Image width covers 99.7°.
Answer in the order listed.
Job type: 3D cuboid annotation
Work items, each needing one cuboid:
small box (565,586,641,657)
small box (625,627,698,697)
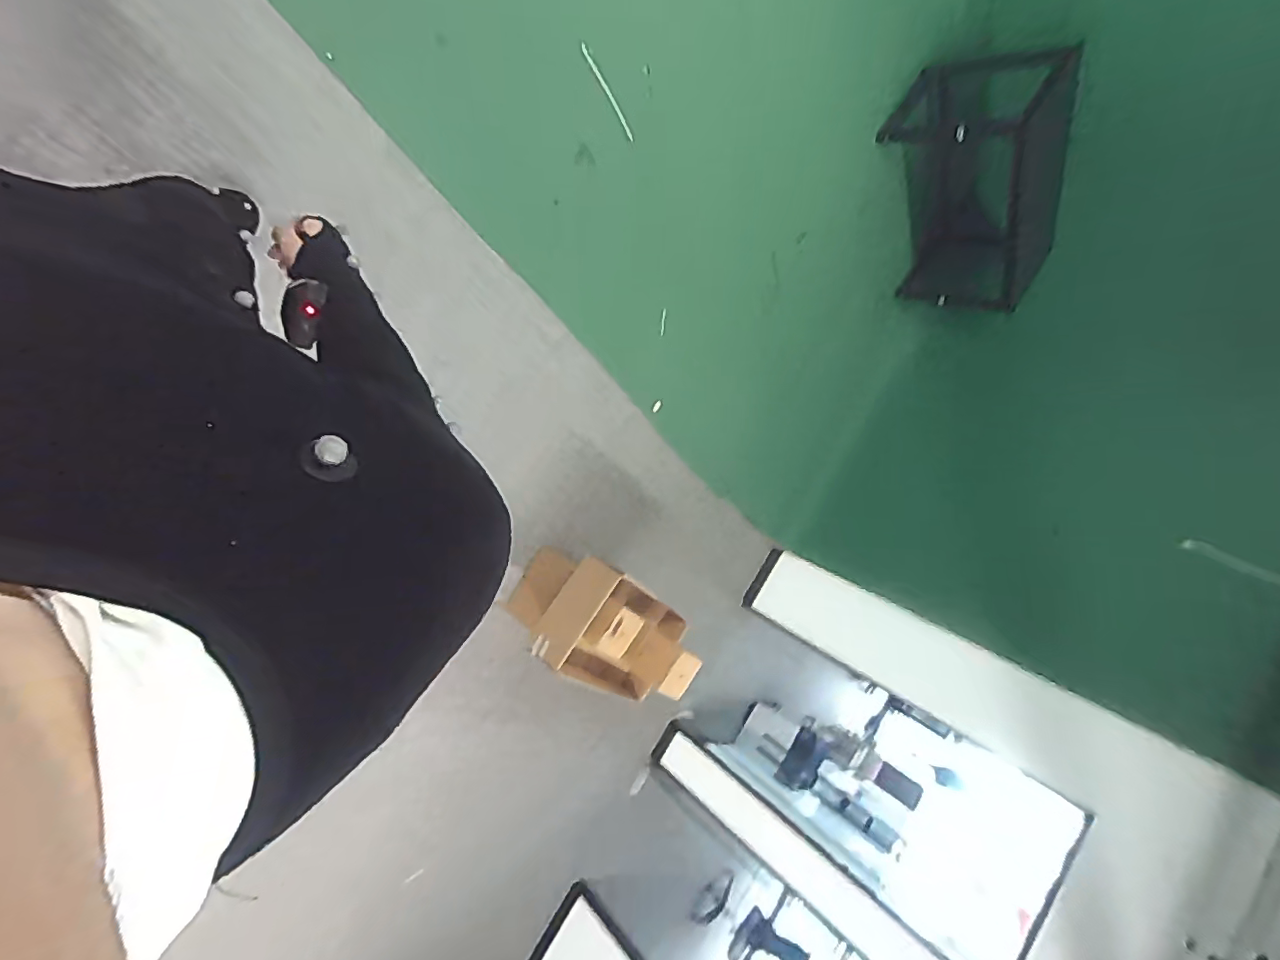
[{"bbox_3d":[-0.135,0.500,1.927,0.168,0.176,0.179,-54,141,-10],"label":"small box"},{"bbox_3d":[0.080,0.672,2.004,0.168,0.176,0.179,-55,138,-10],"label":"small box"}]
